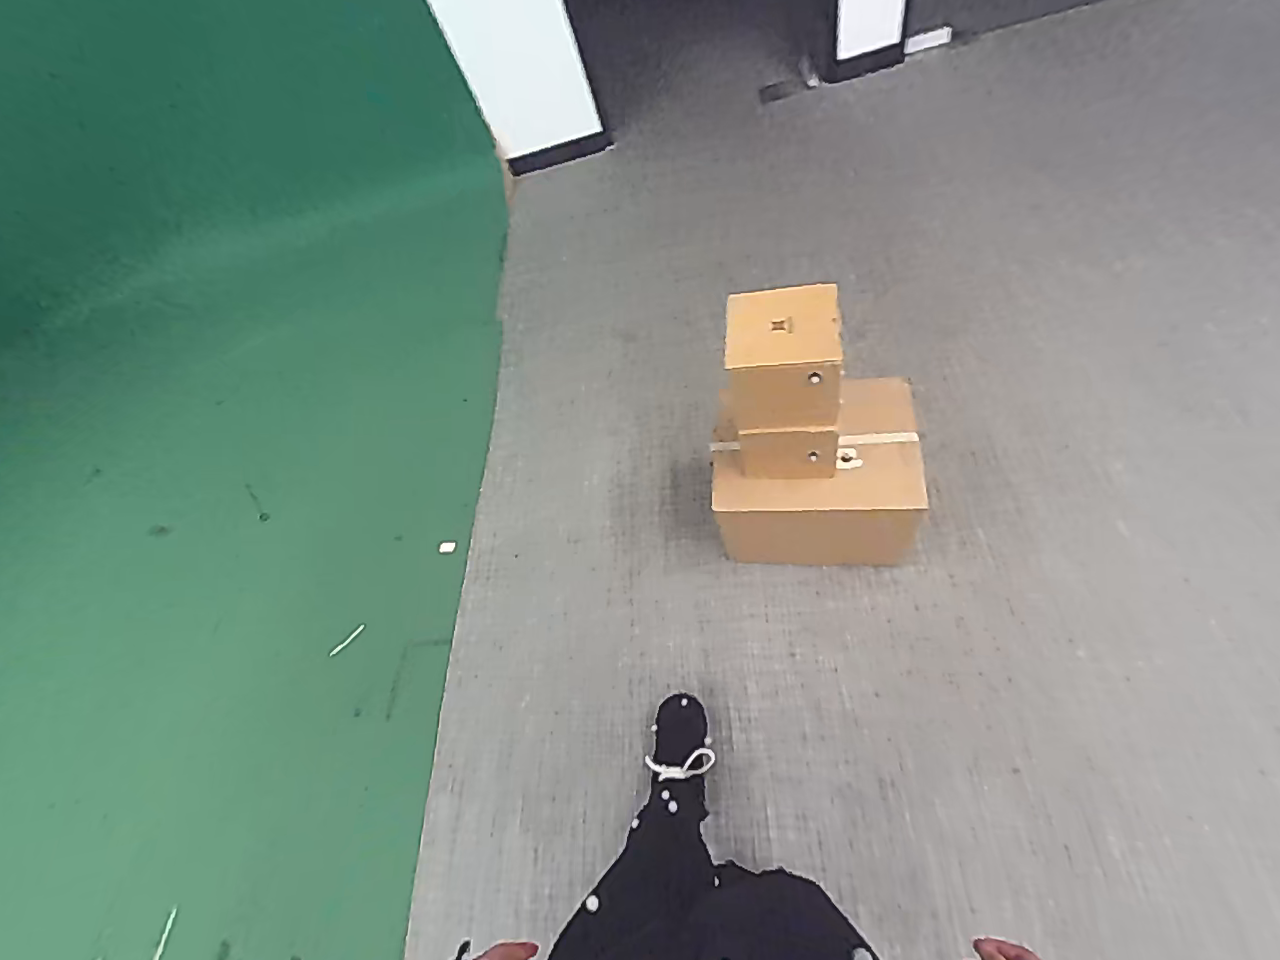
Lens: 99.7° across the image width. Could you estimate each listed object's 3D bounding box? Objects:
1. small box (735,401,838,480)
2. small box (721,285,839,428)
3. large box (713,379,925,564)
[{"bbox_3d":[0.285,-0.110,1.051,0.179,0.176,0.168,-2,60,17],"label":"small box"},{"bbox_3d":[0.239,-0.202,0.923,0.179,0.176,0.168,-1,60,15],"label":"small box"},{"bbox_3d":[0.385,-0.002,1.247,0.408,0.320,0.320,-2,62,14],"label":"large box"}]
